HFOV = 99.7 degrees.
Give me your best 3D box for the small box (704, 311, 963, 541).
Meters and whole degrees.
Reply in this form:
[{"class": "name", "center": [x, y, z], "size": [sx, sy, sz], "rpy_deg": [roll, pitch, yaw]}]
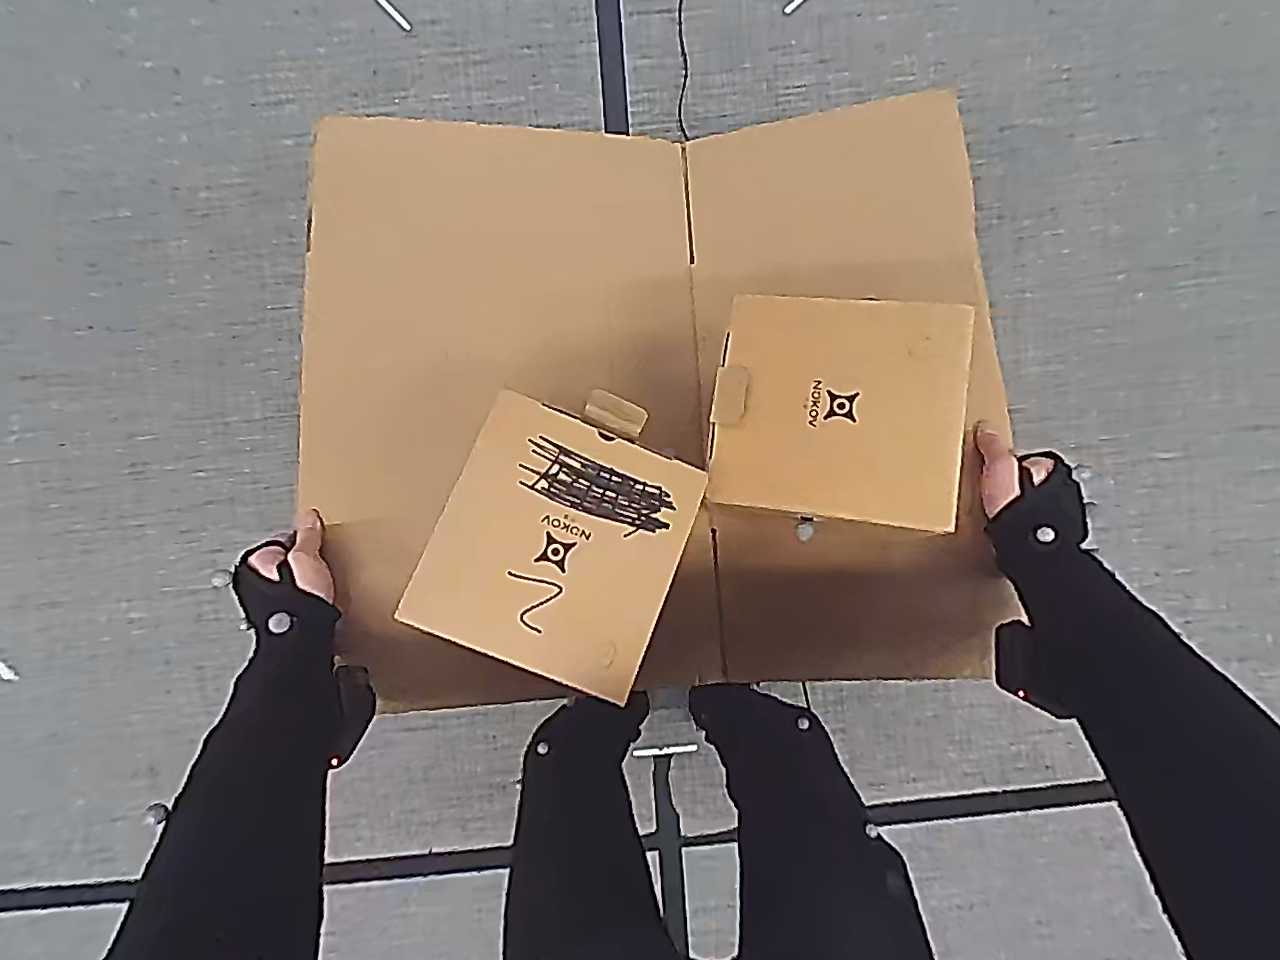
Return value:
[{"class": "small box", "center": [0.164, -0.038, 0.494], "size": [0.179, 0.176, 0.168], "rpy_deg": [7, 84, 14]}]
